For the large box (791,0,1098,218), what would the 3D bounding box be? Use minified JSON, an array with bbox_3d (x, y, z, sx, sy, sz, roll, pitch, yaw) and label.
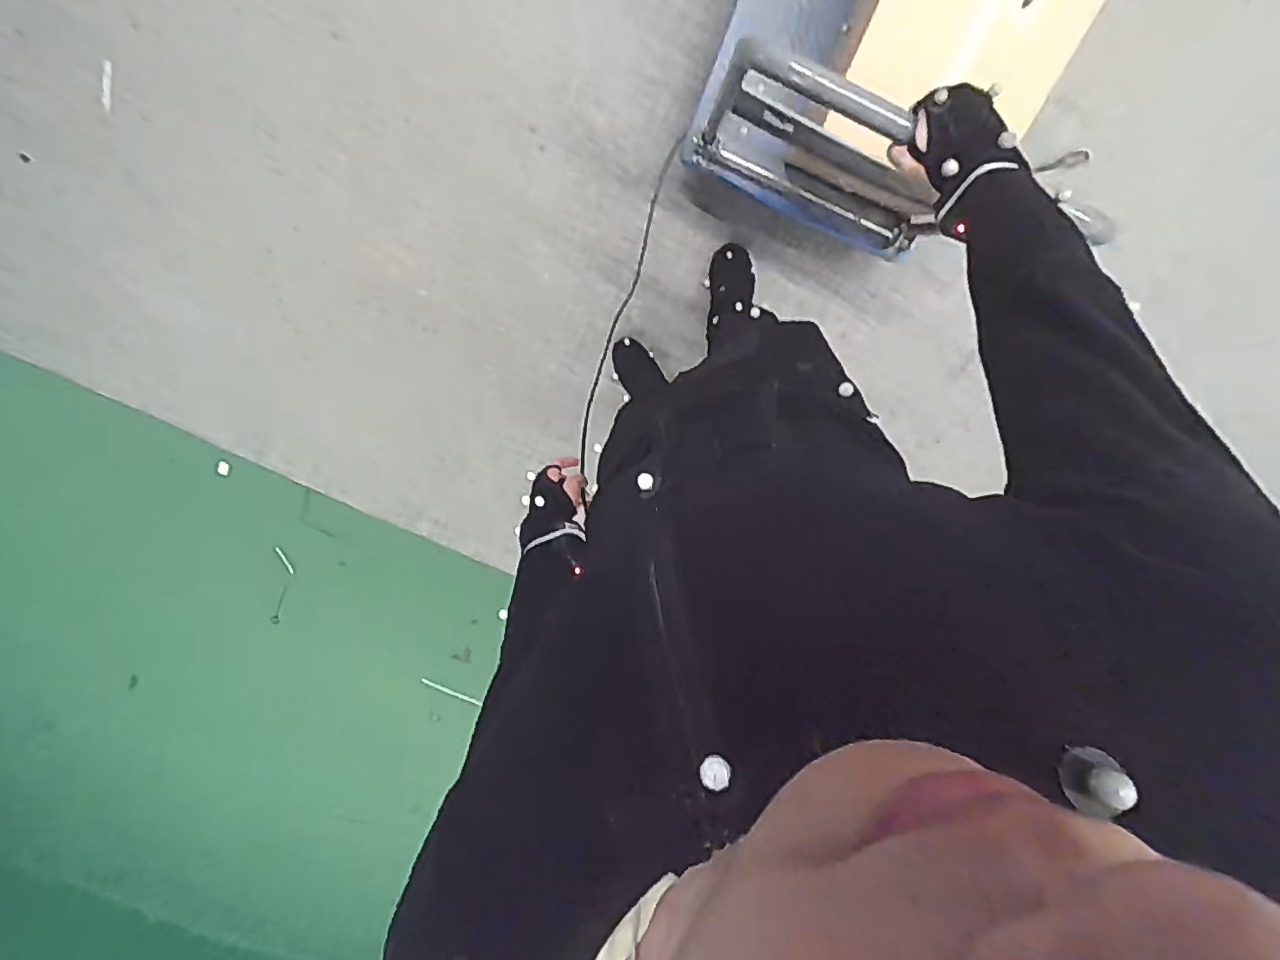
[{"bbox_3d":[0.524,-0.746,0.988,0.320,0.320,0.408,21,114,-6],"label":"large box"}]
